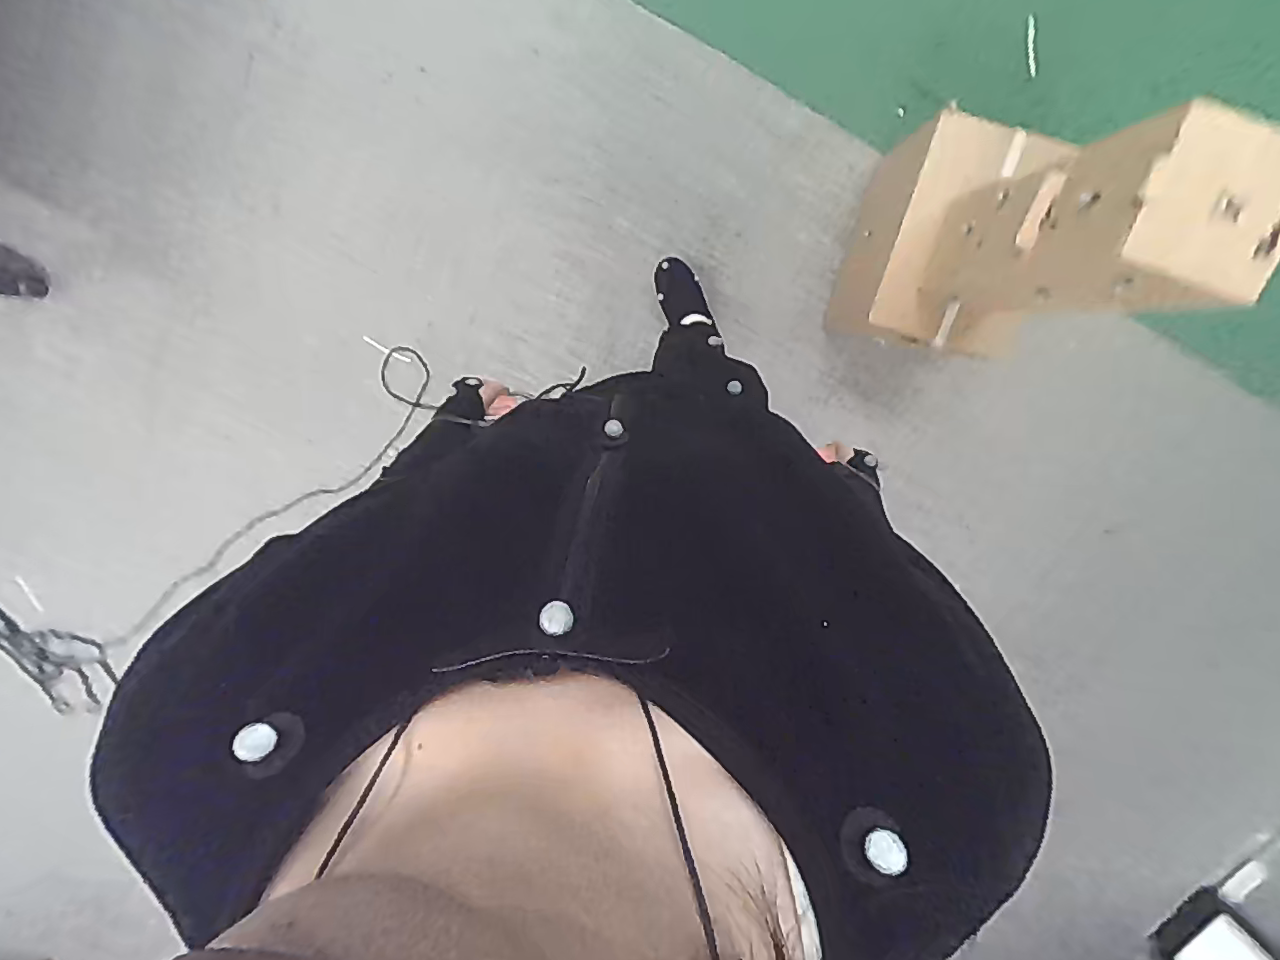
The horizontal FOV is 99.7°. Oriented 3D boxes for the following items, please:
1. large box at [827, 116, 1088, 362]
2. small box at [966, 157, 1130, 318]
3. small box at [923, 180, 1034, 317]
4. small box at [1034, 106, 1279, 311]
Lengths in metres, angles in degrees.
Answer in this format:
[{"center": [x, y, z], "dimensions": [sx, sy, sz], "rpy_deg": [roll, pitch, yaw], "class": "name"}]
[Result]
[{"center": [0.667, -0.499, 1.215], "dimensions": [0.320, 0.320, 0.408], "rpy_deg": [14, 104, -3], "class": "large box"}, {"center": [0.651, -0.356, 0.831], "dimensions": [0.179, 0.176, 0.168], "rpy_deg": [20, 105, -3], "class": "small box"}, {"center": [0.655, -0.409, 0.986], "dimensions": [0.168, 0.176, 0.179], "rpy_deg": [18, 105, -2], "class": "small box"}, {"center": [0.649, -0.316, 0.672], "dimensions": [0.179, 0.176, 0.168], "rpy_deg": [19, 105, -1], "class": "small box"}]
